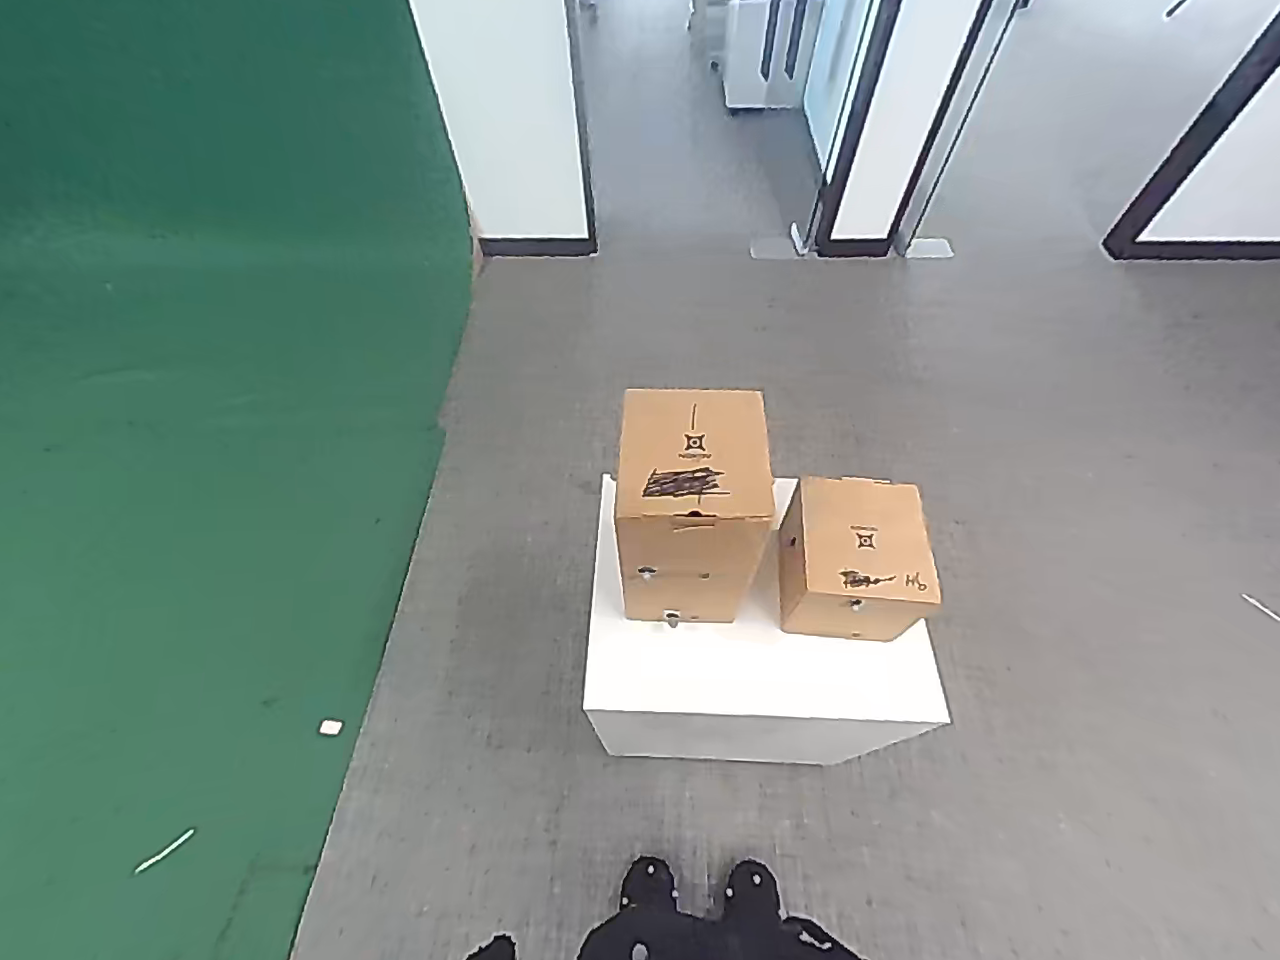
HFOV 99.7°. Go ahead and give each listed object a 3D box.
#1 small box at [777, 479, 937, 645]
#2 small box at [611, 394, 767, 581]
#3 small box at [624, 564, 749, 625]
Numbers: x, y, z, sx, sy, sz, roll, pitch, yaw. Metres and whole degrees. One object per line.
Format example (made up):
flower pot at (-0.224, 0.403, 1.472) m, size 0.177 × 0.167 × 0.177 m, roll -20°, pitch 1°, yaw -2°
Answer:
small box at (0.298, 0.122, 0.788) m, size 0.168 × 0.176 × 0.179 m, roll 5°, pitch 57°, yaw 5°
small box at (0.059, 0.015, 0.670) m, size 0.168 × 0.176 × 0.179 m, roll 2°, pitch 56°, yaw 3°
small box at (0.063, 0.105, 0.808) m, size 0.168 × 0.176 × 0.179 m, roll -1°, pitch 58°, yaw 2°
